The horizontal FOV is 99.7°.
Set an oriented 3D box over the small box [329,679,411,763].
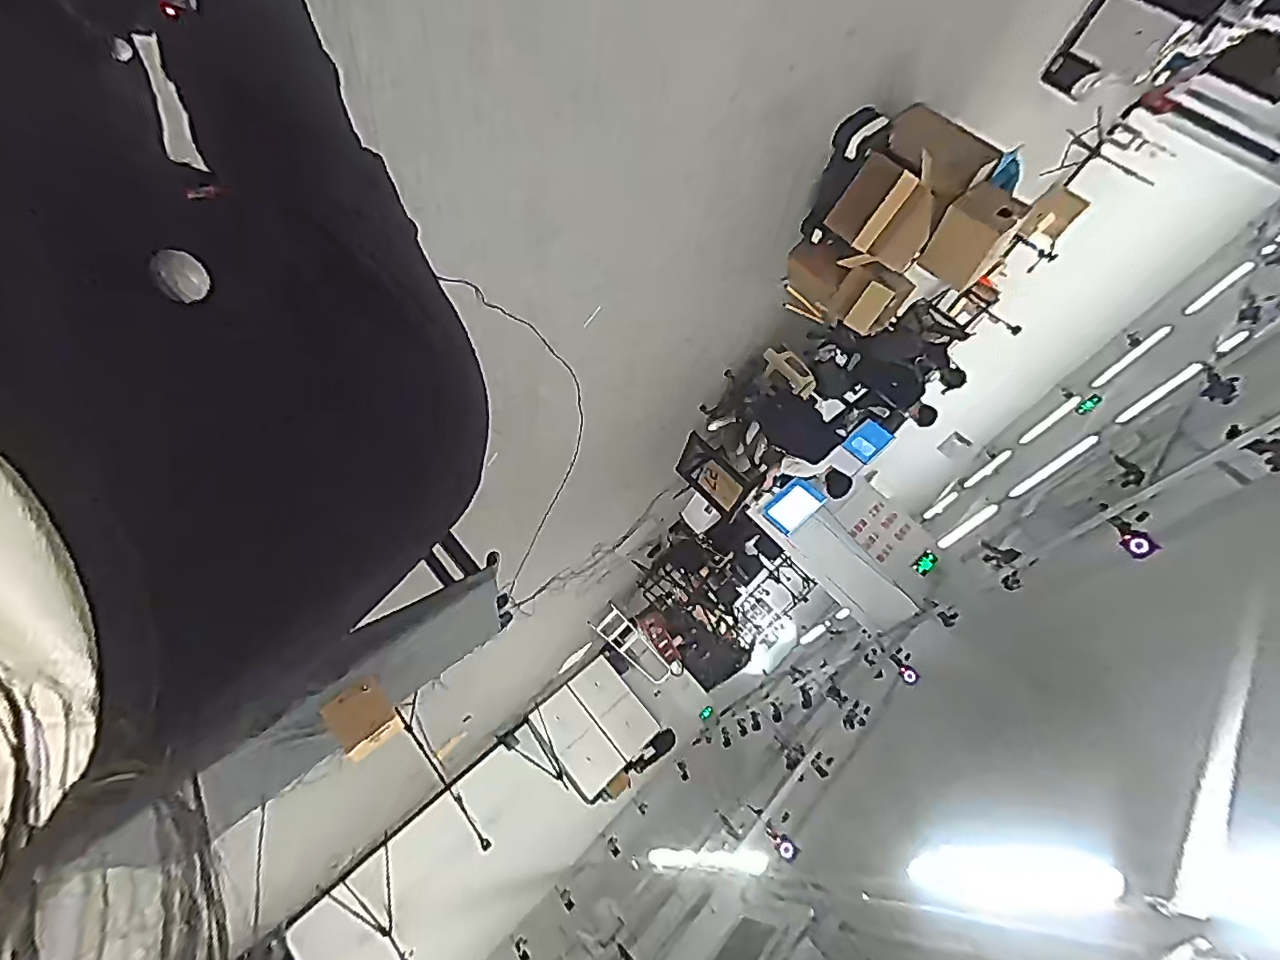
[{"bbox_3d":[-0.860,0.764,1.724,0.168,0.176,0.179,-34,161,-31],"label":"small box"}]
